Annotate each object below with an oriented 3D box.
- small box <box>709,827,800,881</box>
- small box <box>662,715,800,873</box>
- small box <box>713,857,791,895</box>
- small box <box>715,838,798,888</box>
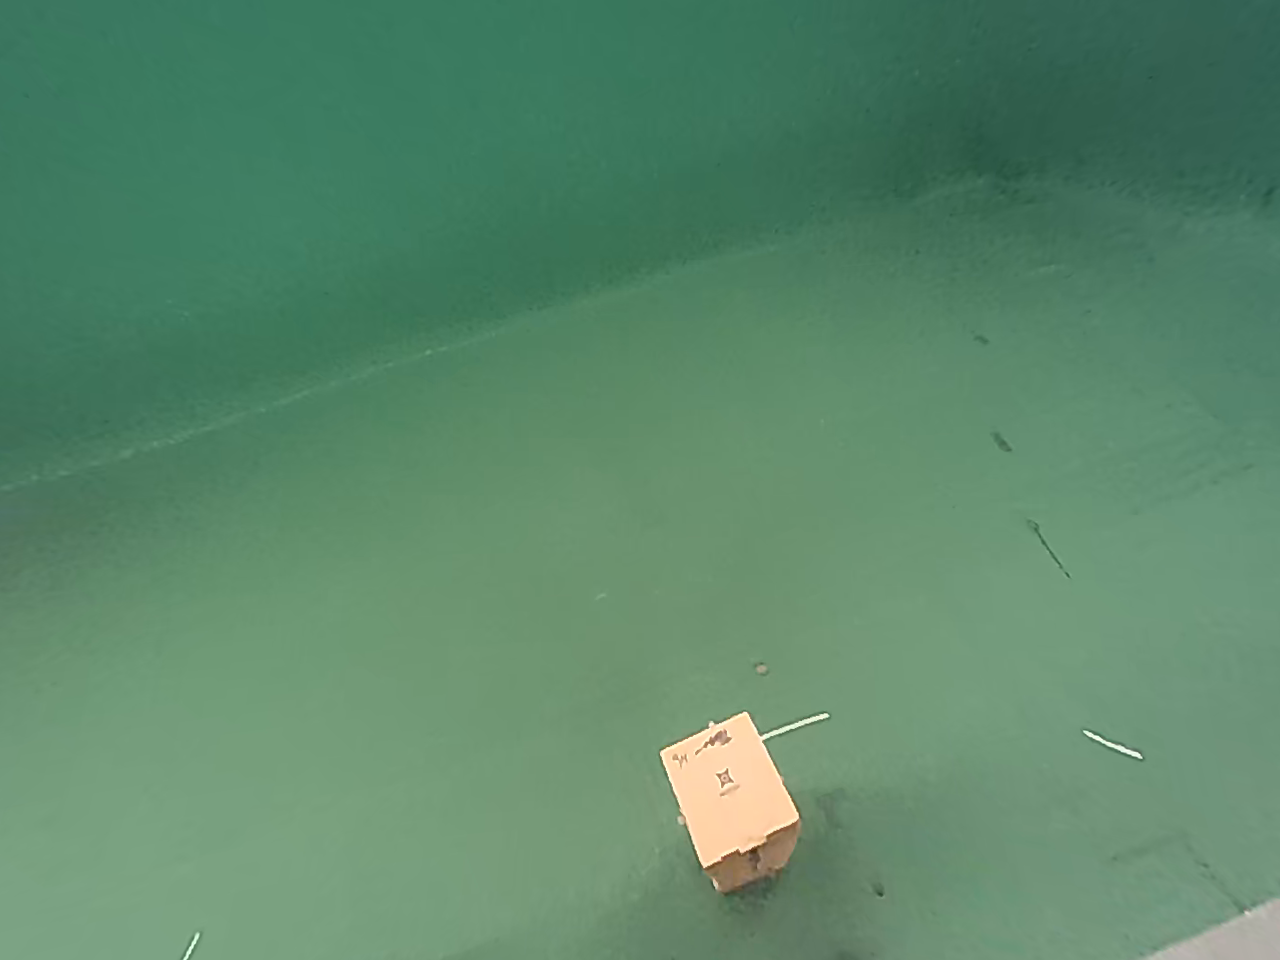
[{"bbox_3d":[0.186,0.638,1.037,0.179,0.176,0.168,-22,49,-8],"label":"small box"},{"bbox_3d":[0.152,0.534,0.915,0.168,0.176,0.179,-22,50,-6],"label":"small box"},{"bbox_3d":[0.238,0.852,1.278,0.179,0.176,0.168,-19,48,-4],"label":"small box"},{"bbox_3d":[0.218,0.744,1.160,0.179,0.176,0.168,-23,50,-5],"label":"small box"}]
